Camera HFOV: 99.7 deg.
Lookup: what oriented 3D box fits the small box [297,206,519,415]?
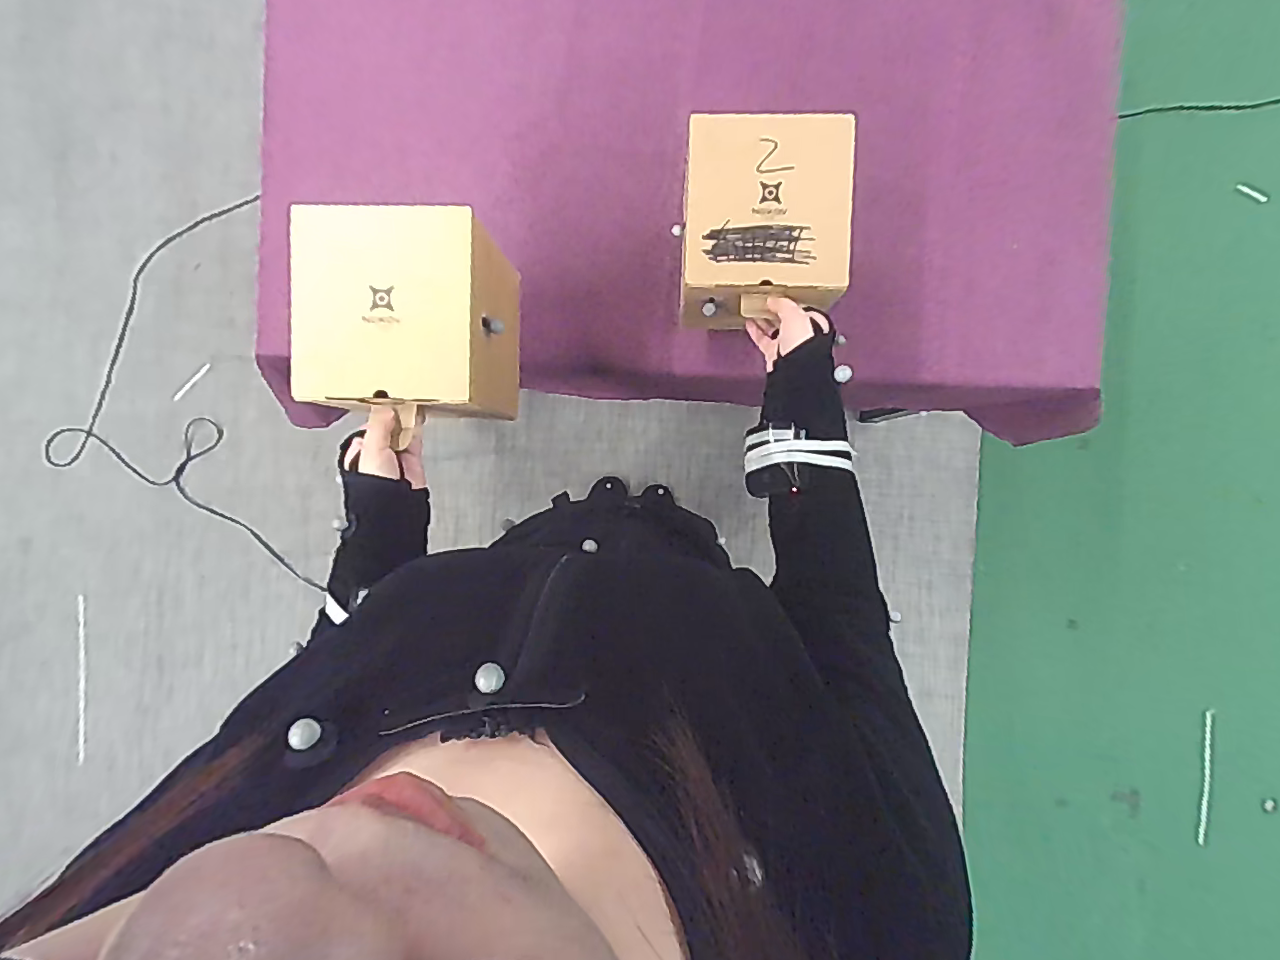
[{"bbox_3d":[-0.232,-0.166,0.578,0.168,0.176,0.179,2,93,2],"label":"small box"}]
